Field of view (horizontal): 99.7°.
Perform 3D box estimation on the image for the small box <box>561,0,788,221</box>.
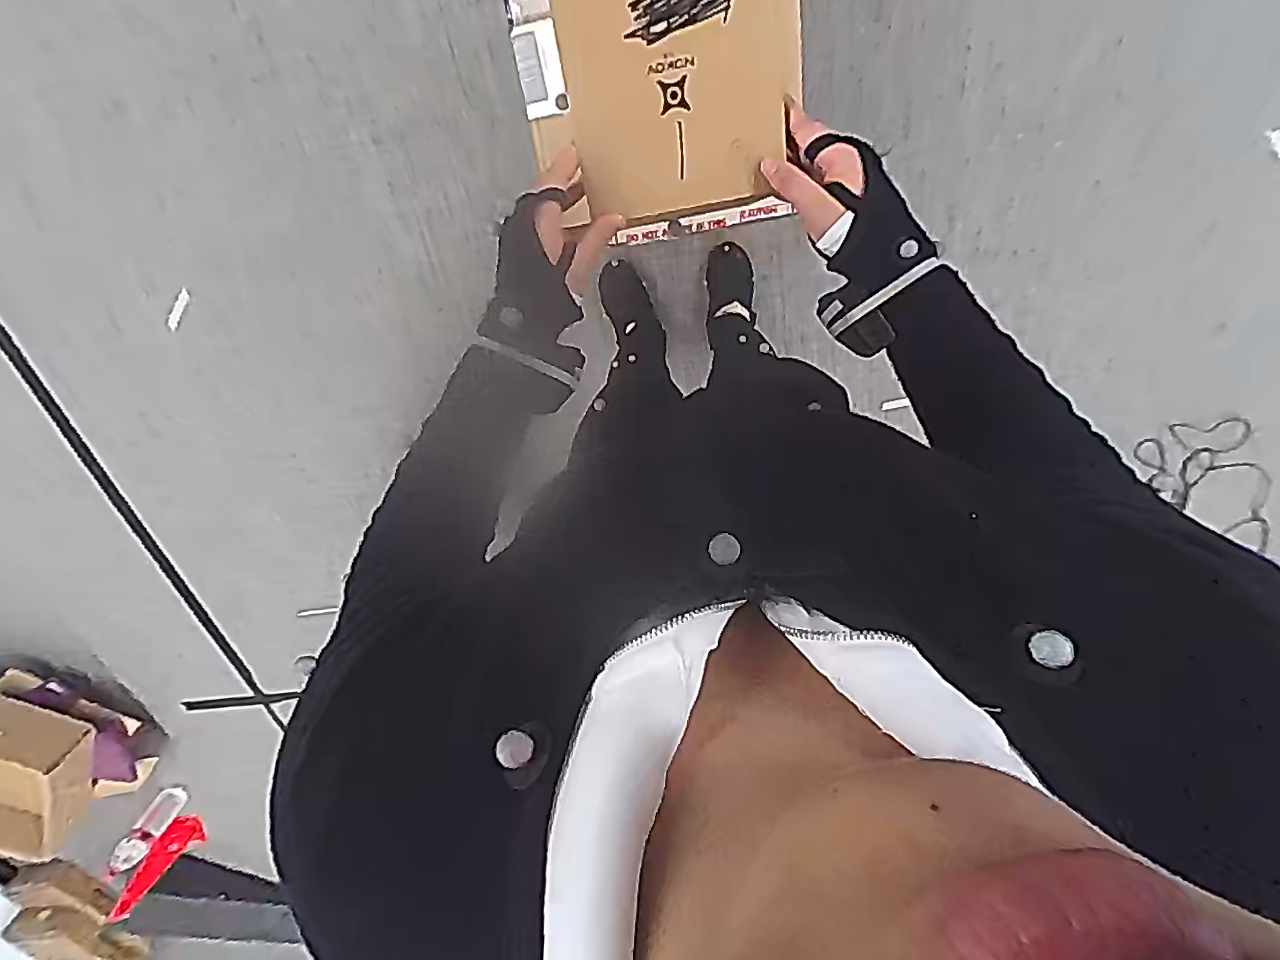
[{"bbox_3d":[0.028,-0.344,0.490,0.168,0.176,0.179,-9,115,3],"label":"small box"}]
